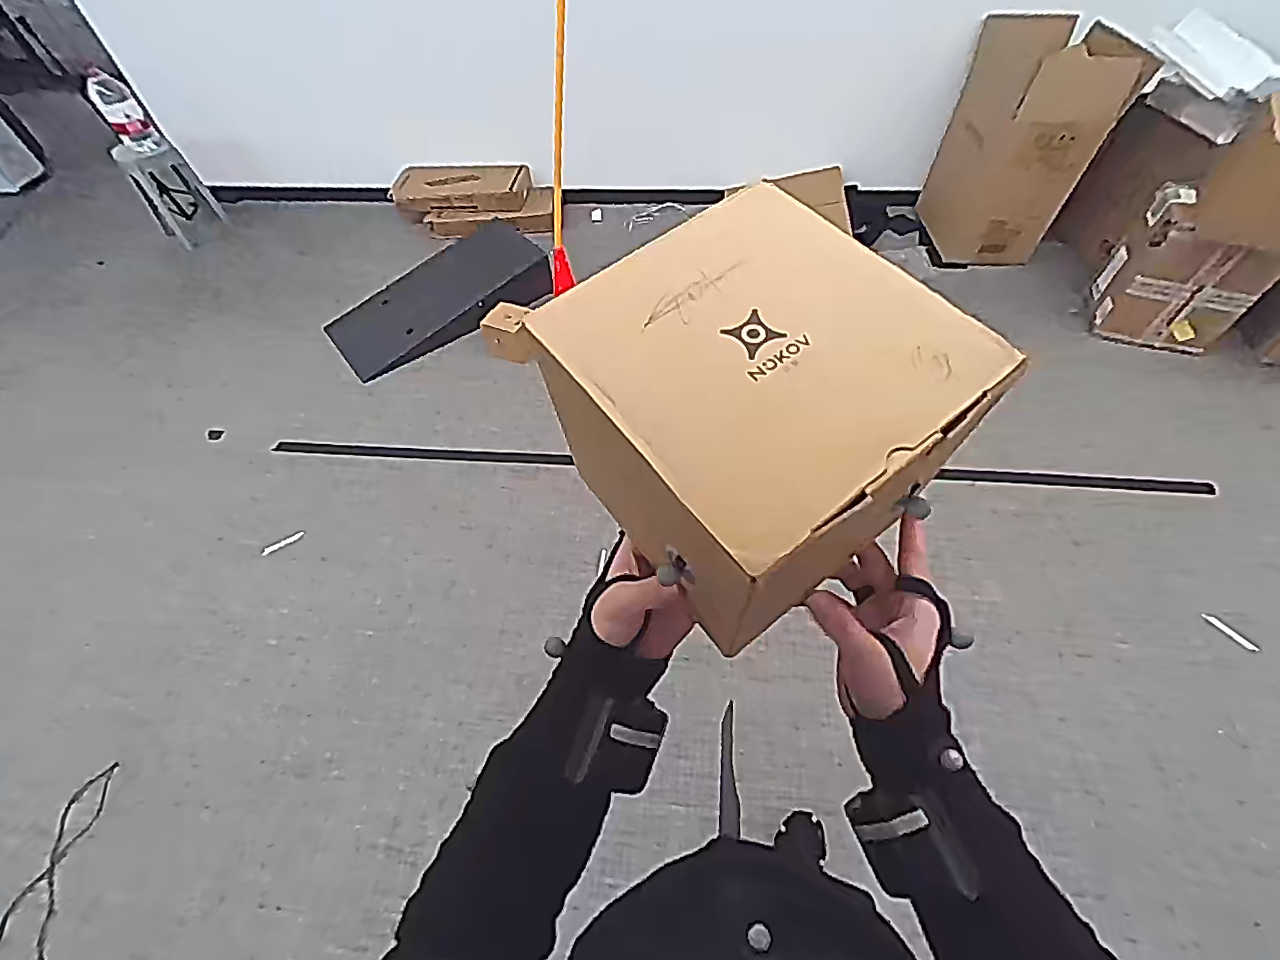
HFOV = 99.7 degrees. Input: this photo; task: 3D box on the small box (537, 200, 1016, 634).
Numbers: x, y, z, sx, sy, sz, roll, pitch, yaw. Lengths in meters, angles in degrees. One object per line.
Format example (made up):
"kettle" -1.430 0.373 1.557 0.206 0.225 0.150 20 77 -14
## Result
"small box" 0.066 -0.025 0.336 0.168 0.176 0.179 -36 65 -14
